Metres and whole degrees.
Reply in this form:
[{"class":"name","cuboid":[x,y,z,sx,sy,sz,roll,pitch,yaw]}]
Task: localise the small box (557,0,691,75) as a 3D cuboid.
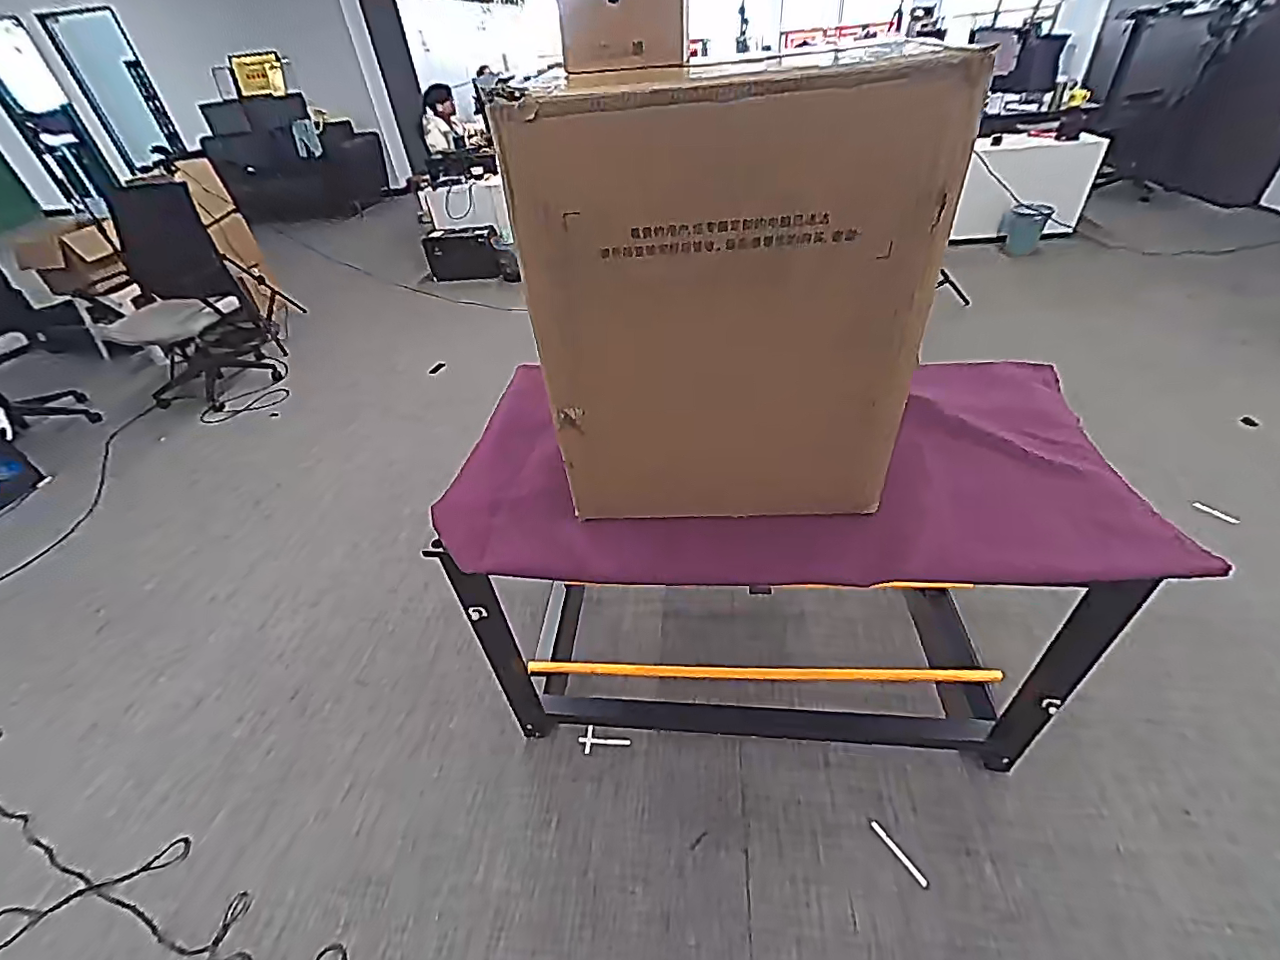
[{"class":"small box","cuboid":[-0.017,-0.667,0.743,0.168,0.176,0.179,2,40,7]}]
